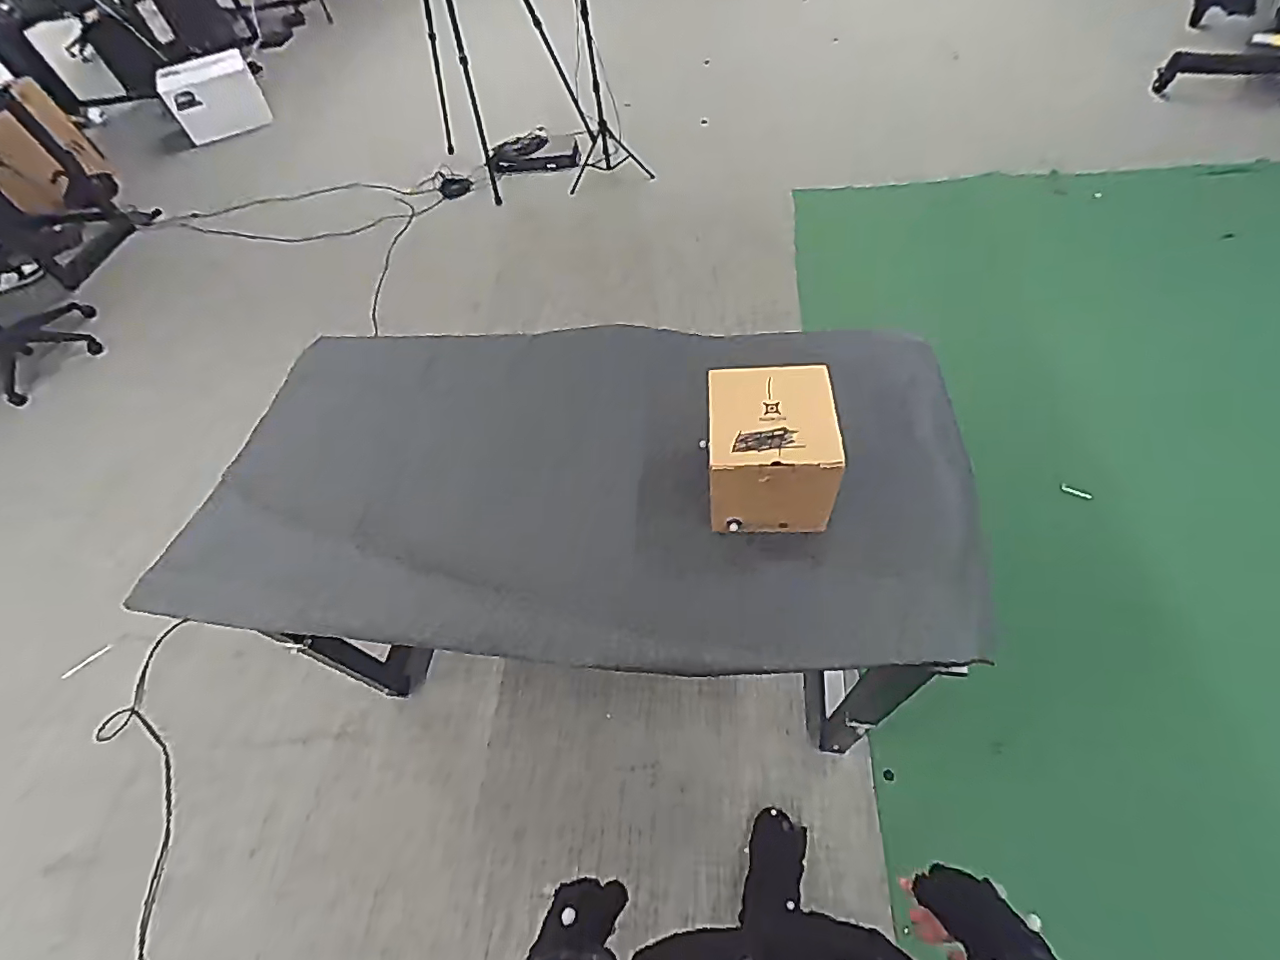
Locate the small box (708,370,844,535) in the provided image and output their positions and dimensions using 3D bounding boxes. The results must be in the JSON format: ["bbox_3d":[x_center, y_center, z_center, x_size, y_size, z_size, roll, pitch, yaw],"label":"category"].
[{"bbox_3d":[0.183,-0.033,0.772,0.168,0.176,0.179,-1,54,8],"label":"small box"}]
